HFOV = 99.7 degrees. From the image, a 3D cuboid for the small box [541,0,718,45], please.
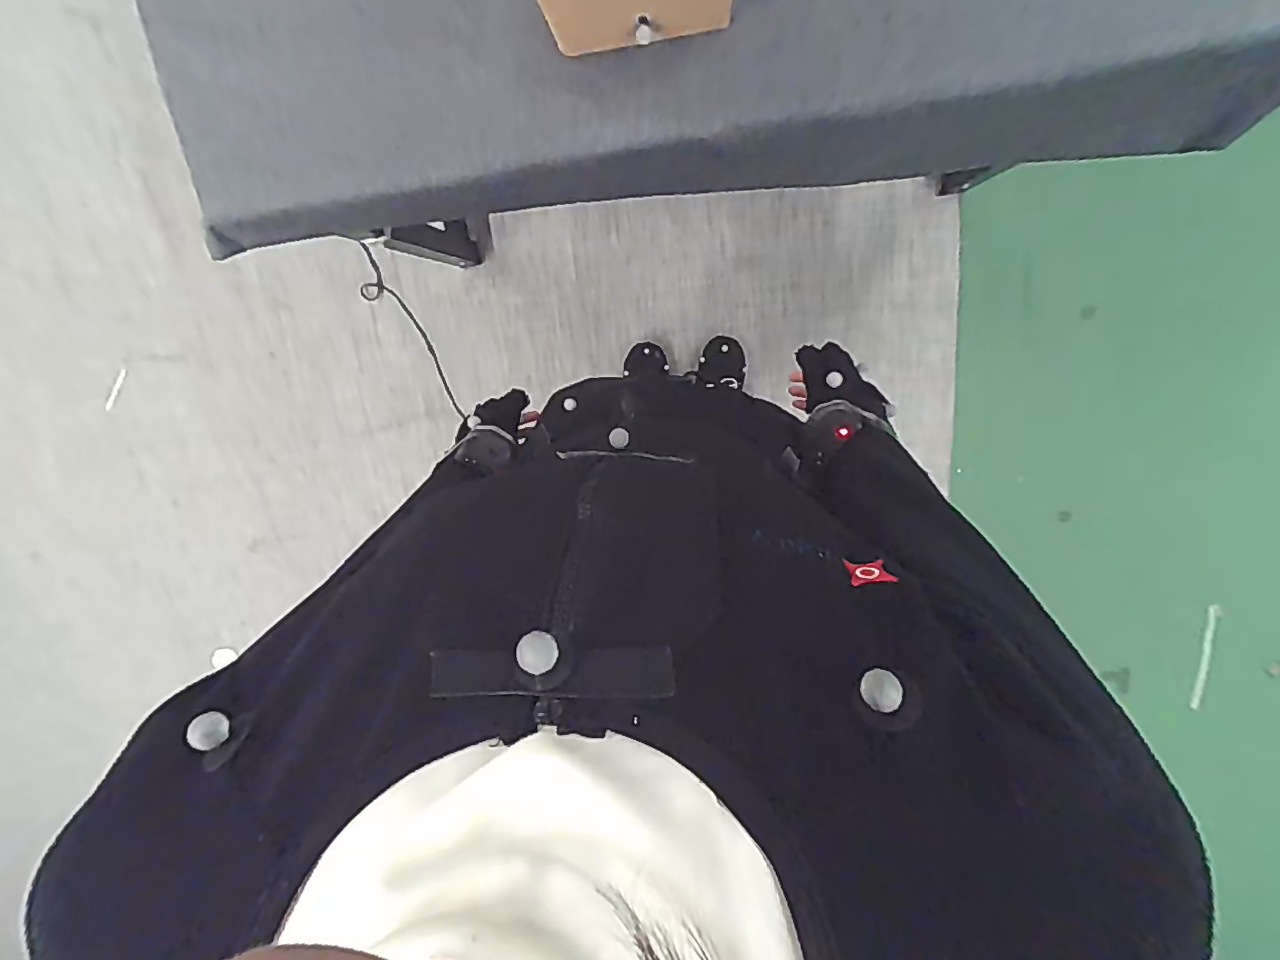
[{"bbox_3d":[-0.013,-0.515,0.460,0.179,0.176,0.168,-5,105,7],"label":"small box"}]
